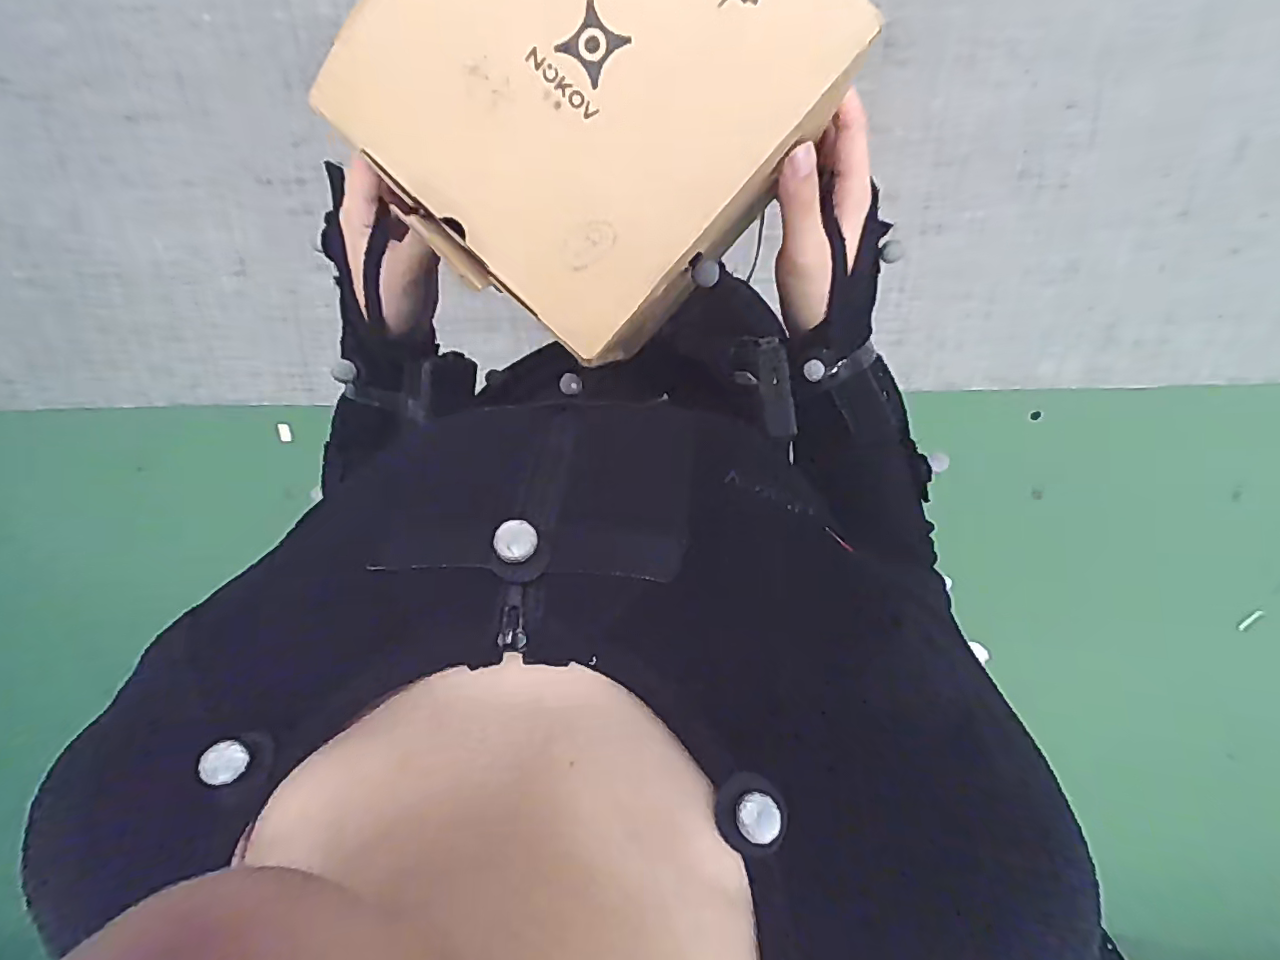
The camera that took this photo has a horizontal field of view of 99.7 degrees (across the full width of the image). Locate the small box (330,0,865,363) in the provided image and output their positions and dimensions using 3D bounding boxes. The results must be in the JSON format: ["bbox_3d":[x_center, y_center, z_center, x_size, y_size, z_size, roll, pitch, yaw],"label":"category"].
[{"bbox_3d":[-0.015,-0.187,0.303,0.168,0.176,0.179,42,105,-6],"label":"small box"}]
